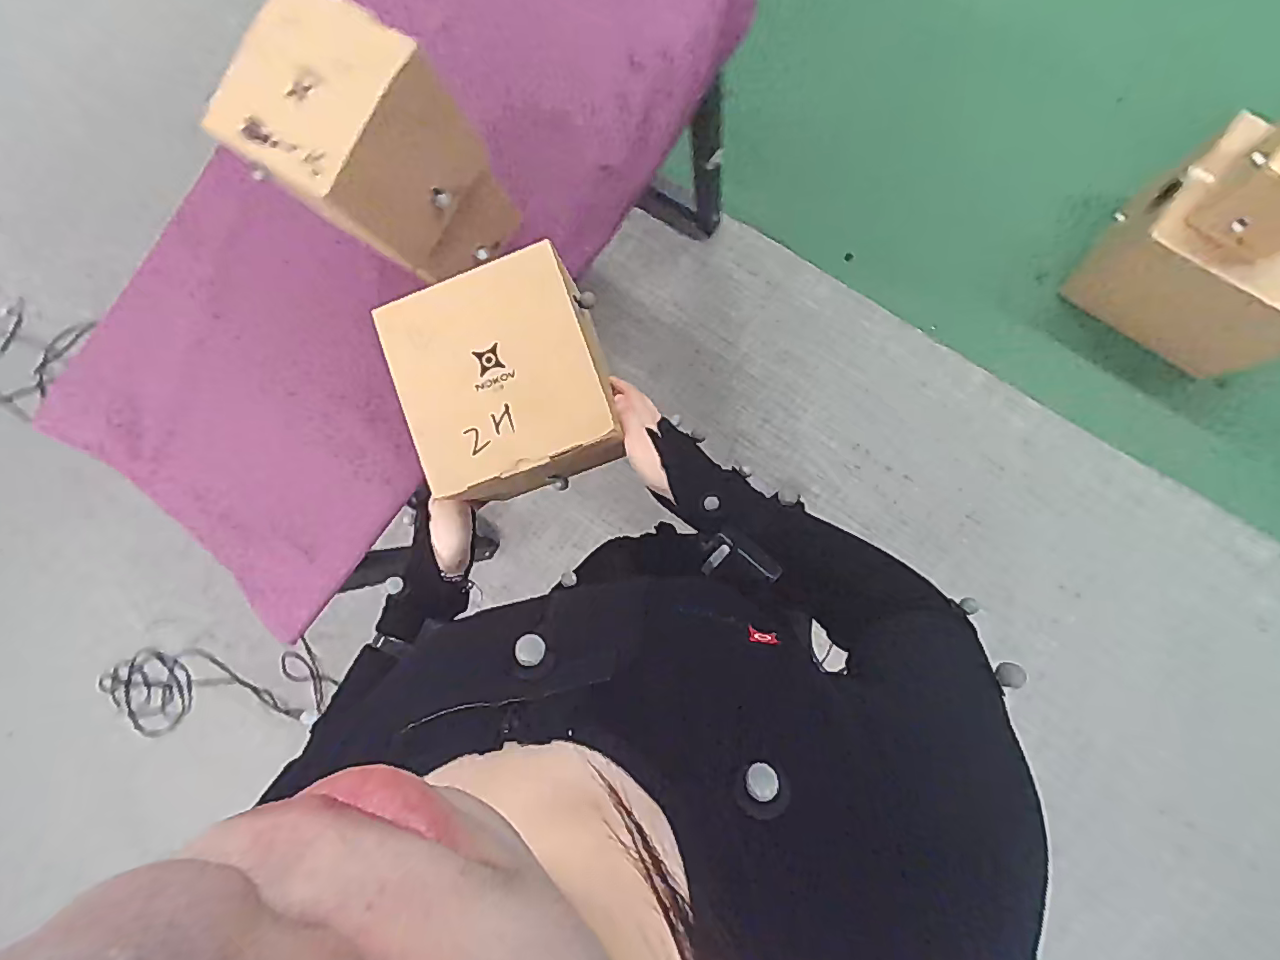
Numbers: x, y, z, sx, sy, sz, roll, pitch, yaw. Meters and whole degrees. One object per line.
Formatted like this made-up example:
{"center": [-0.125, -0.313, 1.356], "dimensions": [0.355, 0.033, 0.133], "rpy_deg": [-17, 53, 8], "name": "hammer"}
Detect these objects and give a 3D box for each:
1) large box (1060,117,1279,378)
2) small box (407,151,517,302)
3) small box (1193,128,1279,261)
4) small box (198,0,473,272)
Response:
{"center": [1.300, -0.491, 1.214], "dimensions": [0.408, 0.320, 0.320], "rpy_deg": [36, 92, 8], "name": "large box"}
{"center": [-0.309, -0.382, 0.763], "dimensions": [0.179, 0.176, 0.168], "rpy_deg": [36, 92, 8], "name": "small box"}
{"center": [1.195, -0.542, 0.986], "dimensions": [0.168, 0.176, 0.179], "rpy_deg": [38, 93, 8], "name": "small box"}
{"center": [-0.313, -0.371, 0.598], "dimensions": [0.168, 0.176, 0.179], "rpy_deg": [32, 91, 9], "name": "small box"}
